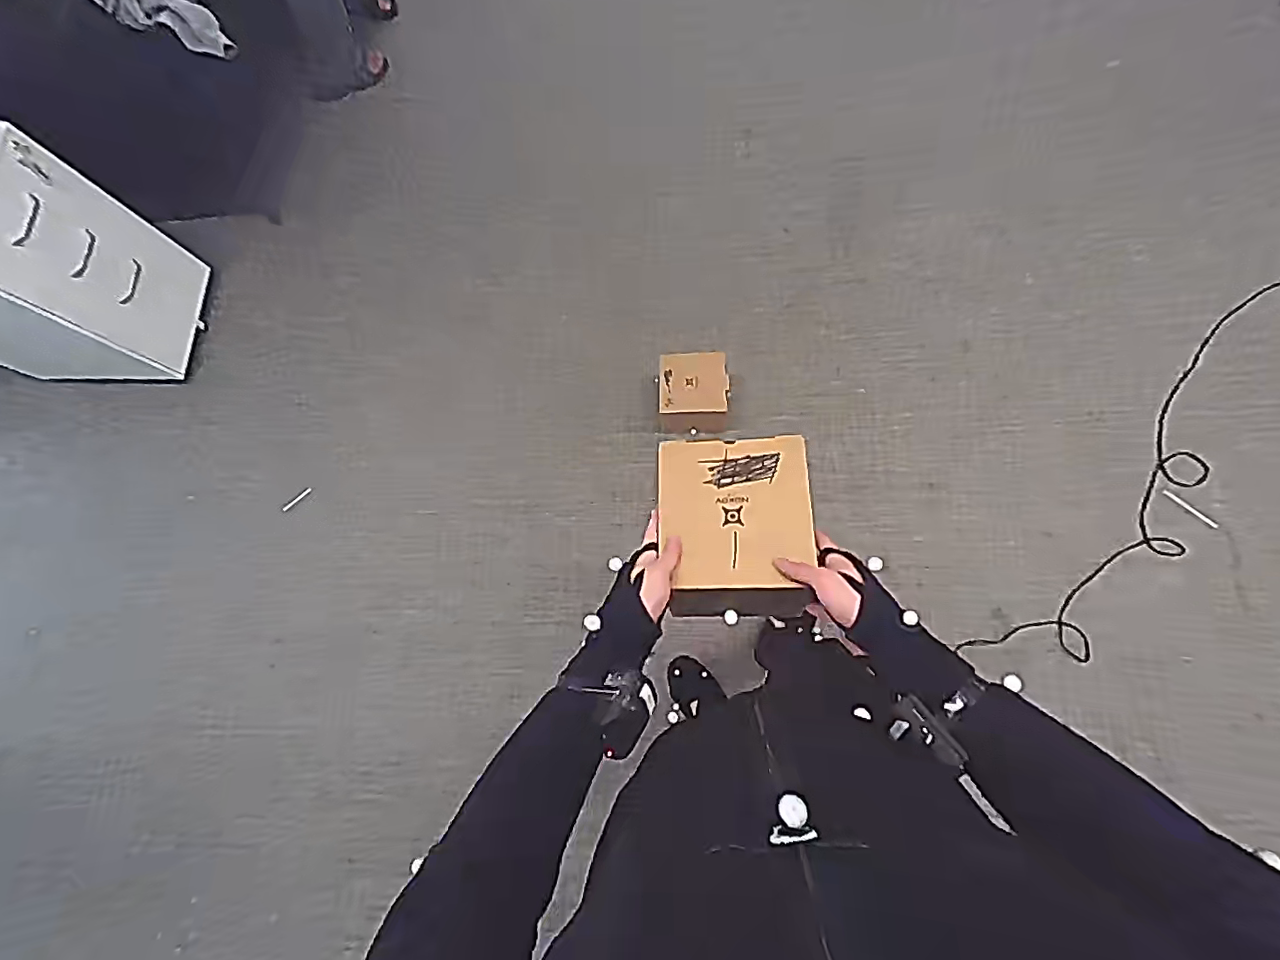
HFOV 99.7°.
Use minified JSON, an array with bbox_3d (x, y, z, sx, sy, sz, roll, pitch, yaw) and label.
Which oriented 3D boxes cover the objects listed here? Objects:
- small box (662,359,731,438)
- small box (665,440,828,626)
[{"bbox_3d":[0.152,-0.218,1.487,0.179,0.176,0.168,-3,77,5],"label":"small box"},{"bbox_3d":[0.124,0.068,0.649,0.168,0.176,0.179,1,65,10],"label":"small box"}]
